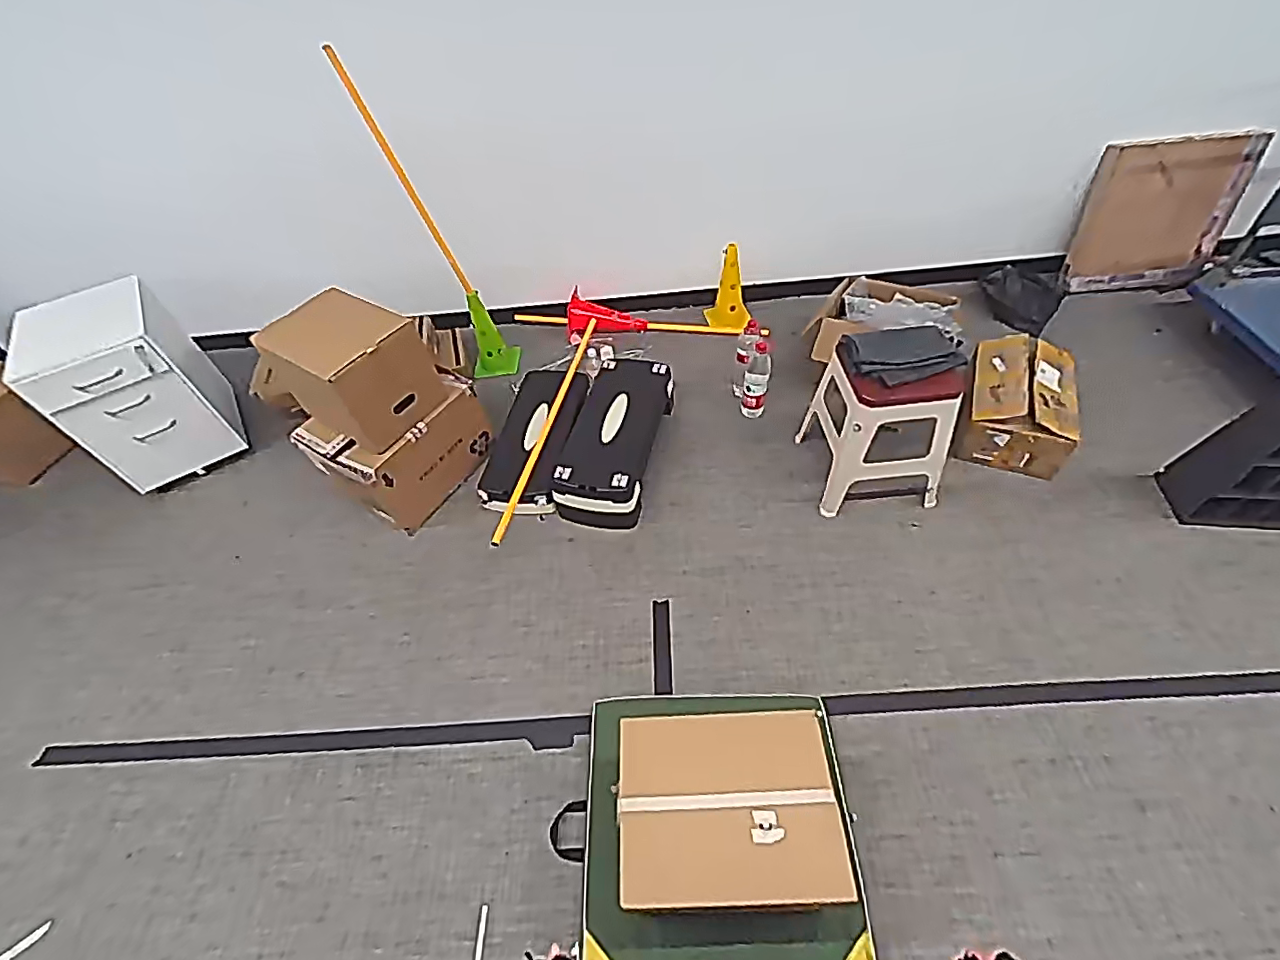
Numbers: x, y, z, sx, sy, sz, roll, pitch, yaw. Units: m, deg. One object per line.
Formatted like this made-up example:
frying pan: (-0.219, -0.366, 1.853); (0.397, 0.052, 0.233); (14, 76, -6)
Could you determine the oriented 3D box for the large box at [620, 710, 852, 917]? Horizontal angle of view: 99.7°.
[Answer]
large box: (0.170, 0.706, 1.139); (0.408, 0.320, 0.320); (-4, 50, 2)
